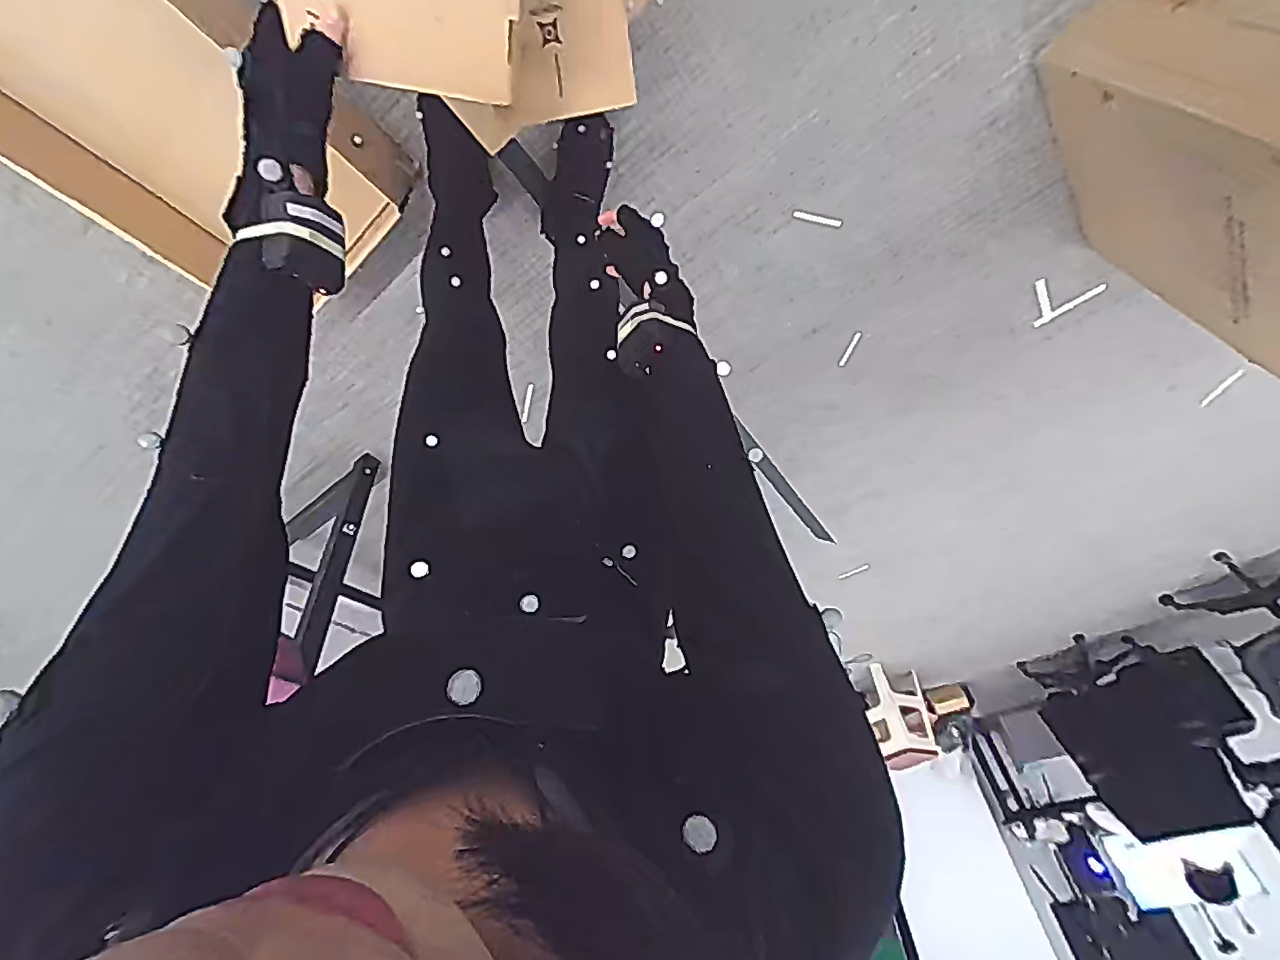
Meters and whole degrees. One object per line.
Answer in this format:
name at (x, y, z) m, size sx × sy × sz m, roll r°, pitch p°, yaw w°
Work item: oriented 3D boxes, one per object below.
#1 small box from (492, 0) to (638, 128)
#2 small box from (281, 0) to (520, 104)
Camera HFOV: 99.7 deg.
small box at (-0.101, -0.532, 0.610) m, size 0.168 × 0.176 × 0.179 m, roll -9°, pitch 138°, yaw 2°
small box at (-0.189, -0.445, 0.451) m, size 0.179 × 0.176 × 0.168 m, roll 3°, pitch 136°, yaw -12°
